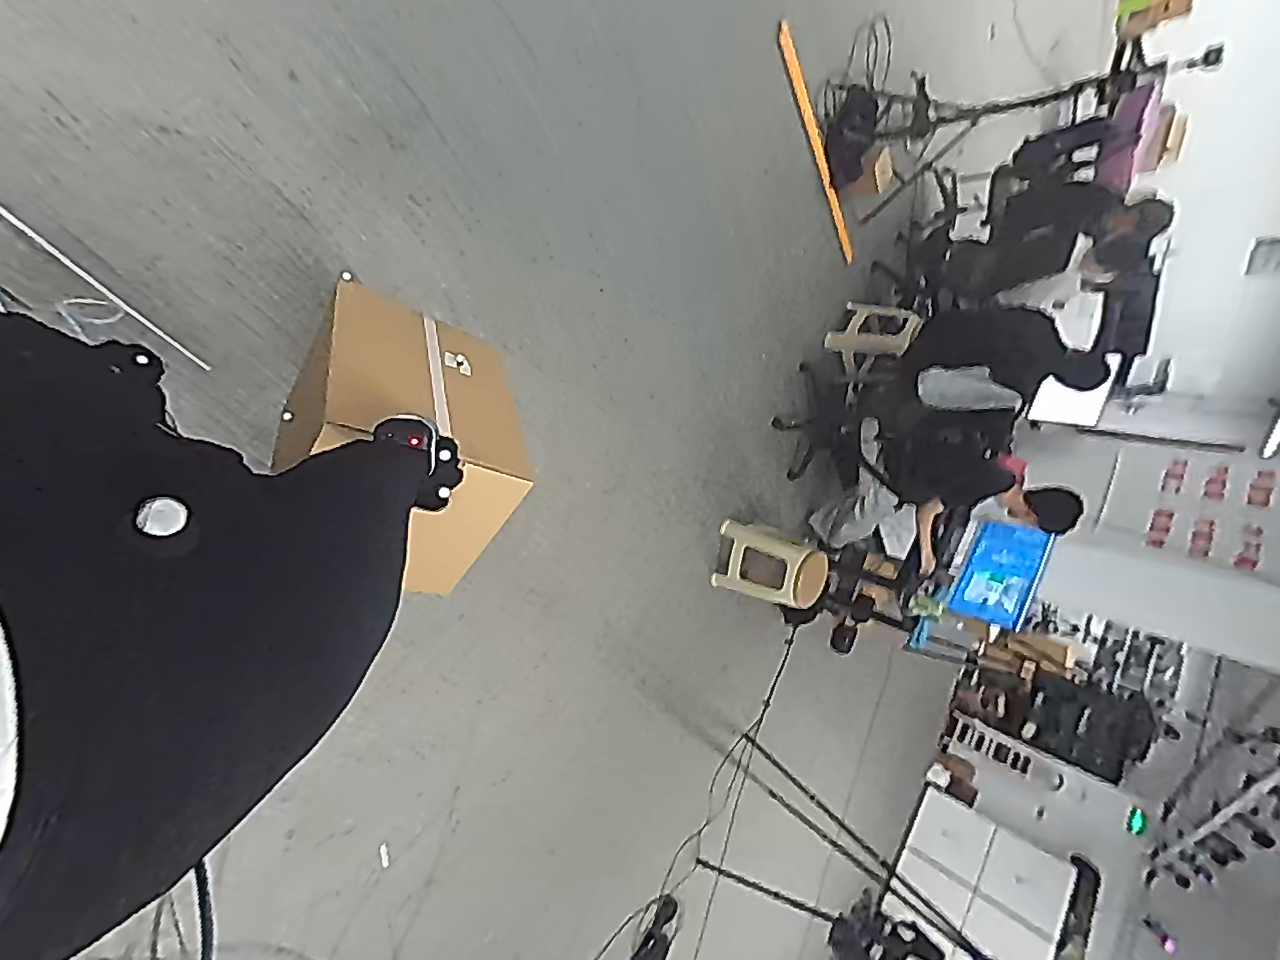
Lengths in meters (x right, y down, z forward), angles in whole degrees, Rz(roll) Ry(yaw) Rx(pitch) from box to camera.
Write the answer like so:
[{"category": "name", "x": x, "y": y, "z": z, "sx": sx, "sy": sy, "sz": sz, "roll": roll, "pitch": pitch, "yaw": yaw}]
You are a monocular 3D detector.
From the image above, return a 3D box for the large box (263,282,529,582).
[{"category": "large box", "x": -0.445, "y": -0.074, "z": 0.974, "sx": 0.320, "sy": 0.408, "sz": 0.320, "roll": 19, "pitch": 122, "yaw": -39}]
